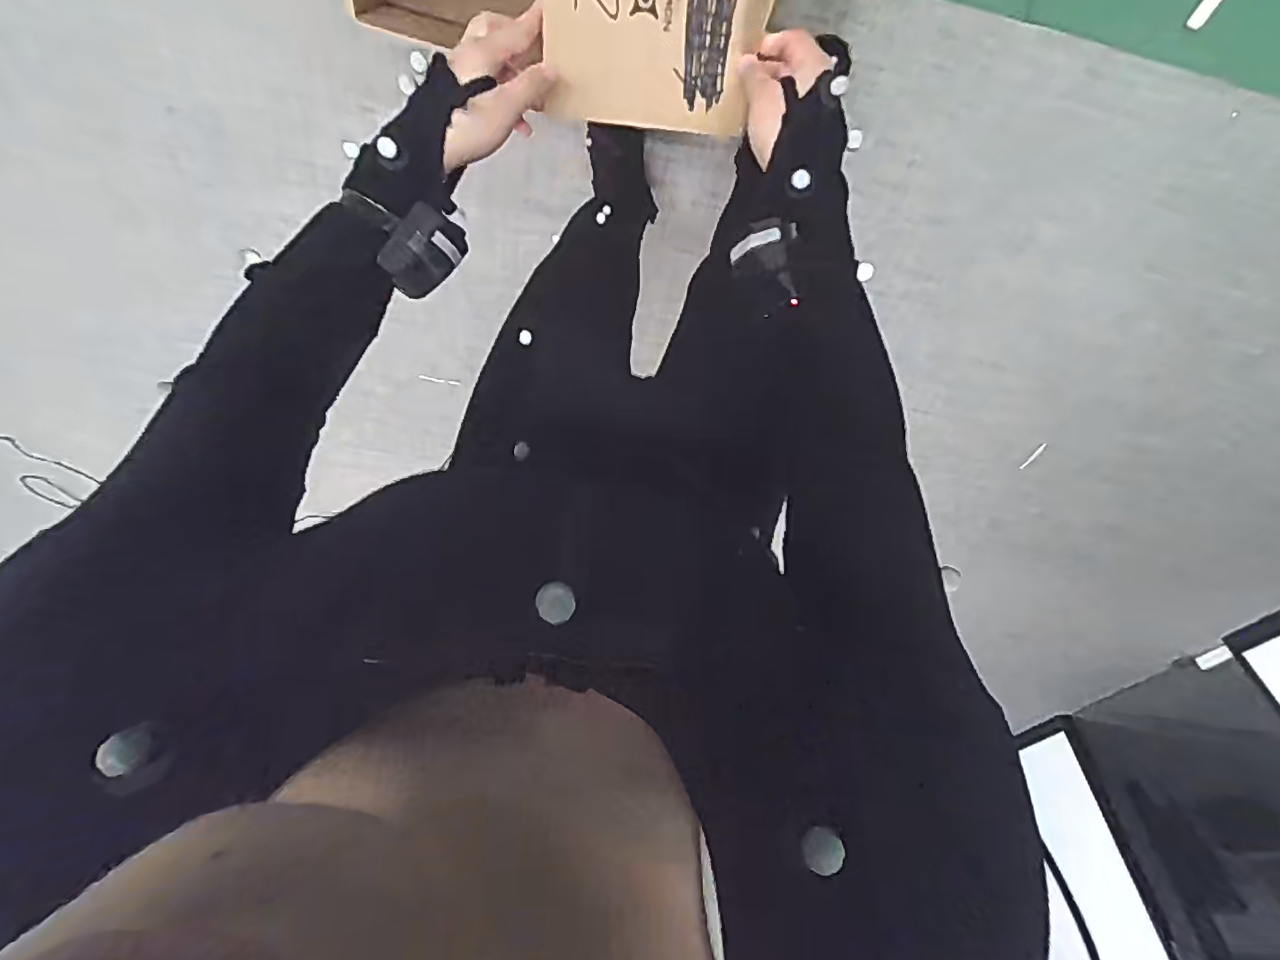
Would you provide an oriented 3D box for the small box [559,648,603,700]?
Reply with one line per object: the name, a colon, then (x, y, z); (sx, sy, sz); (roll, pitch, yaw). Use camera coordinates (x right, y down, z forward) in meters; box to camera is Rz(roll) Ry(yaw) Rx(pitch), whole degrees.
small box: (-0.261, 0.864, 2.409); (0.179, 0.176, 0.168); (5, 139, -3)
